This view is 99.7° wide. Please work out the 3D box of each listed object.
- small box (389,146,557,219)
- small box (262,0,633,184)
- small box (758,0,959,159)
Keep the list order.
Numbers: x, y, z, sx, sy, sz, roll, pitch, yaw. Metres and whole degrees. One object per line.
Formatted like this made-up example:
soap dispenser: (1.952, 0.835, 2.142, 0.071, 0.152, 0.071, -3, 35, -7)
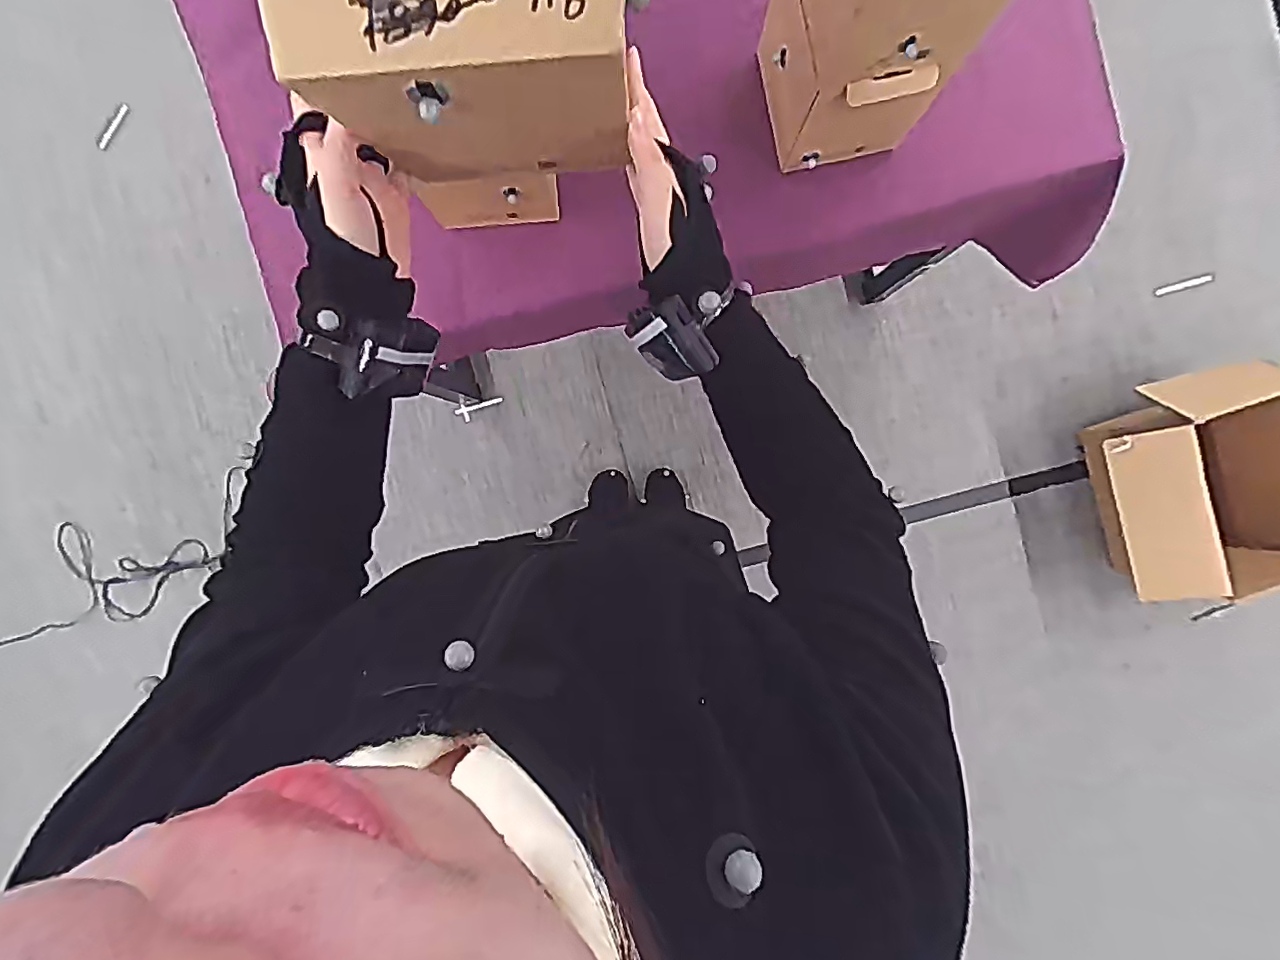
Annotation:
small box: (-0.202, -0.446, 0.678, 0.168, 0.176, 0.179, -4, 92, 0)
small box: (-0.090, -0.292, 0.307, 0.168, 0.176, 0.179, -3, 104, 2)
small box: (0.255, -0.531, 0.670, 0.168, 0.176, 0.179, -12, 91, 1)
